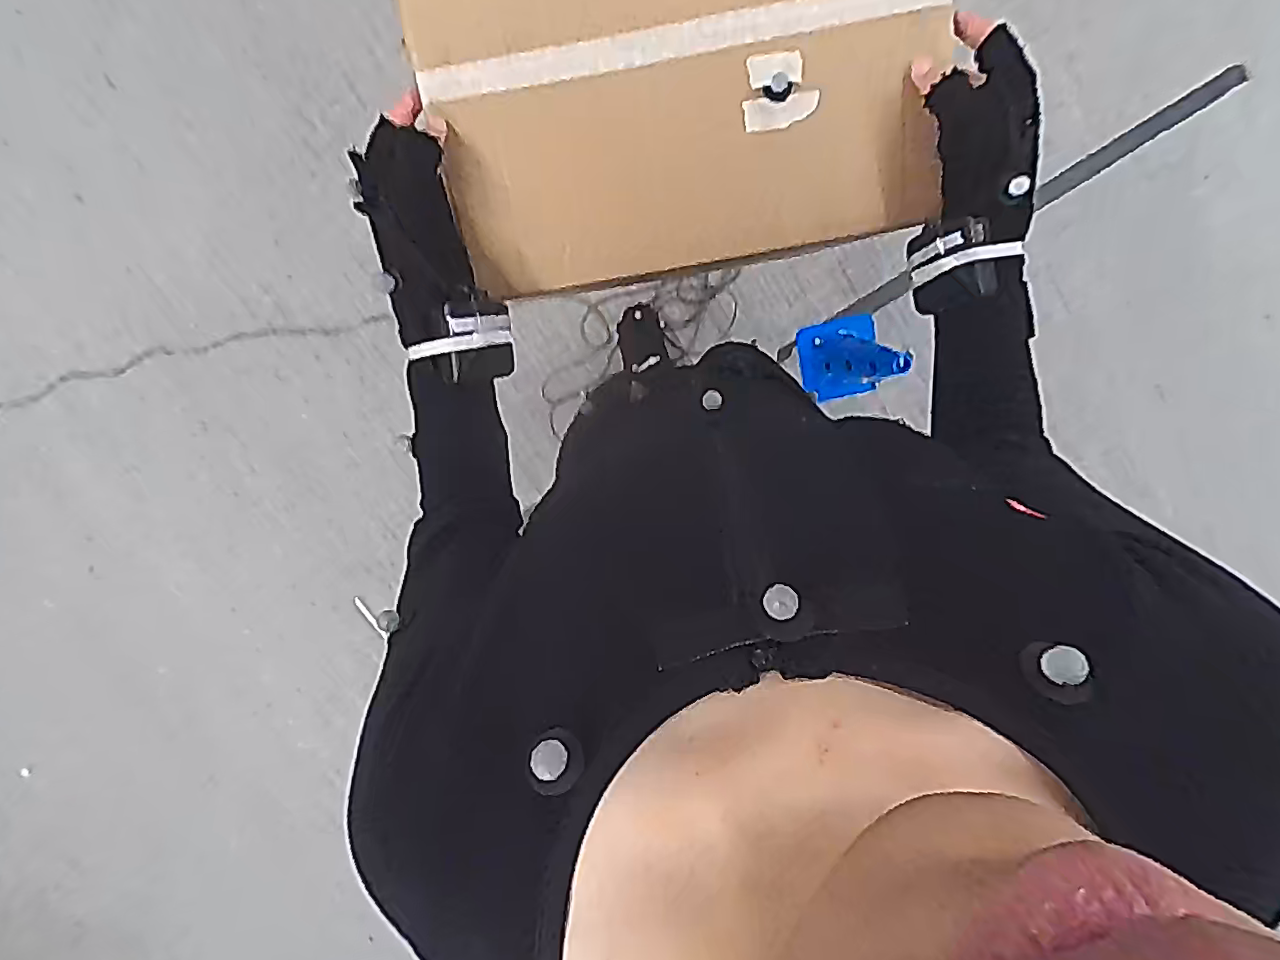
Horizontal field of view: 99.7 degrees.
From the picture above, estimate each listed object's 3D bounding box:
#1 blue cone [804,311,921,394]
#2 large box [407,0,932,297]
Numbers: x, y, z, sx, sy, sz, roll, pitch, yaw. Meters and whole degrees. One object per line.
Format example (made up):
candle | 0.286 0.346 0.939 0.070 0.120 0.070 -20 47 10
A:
blue cone | 0.528 -0.288 1.249 0.192 0.380 0.193 -11 104 2
large box | 0.021 -0.388 0.562 0.408 0.320 0.320 -10 108 1
